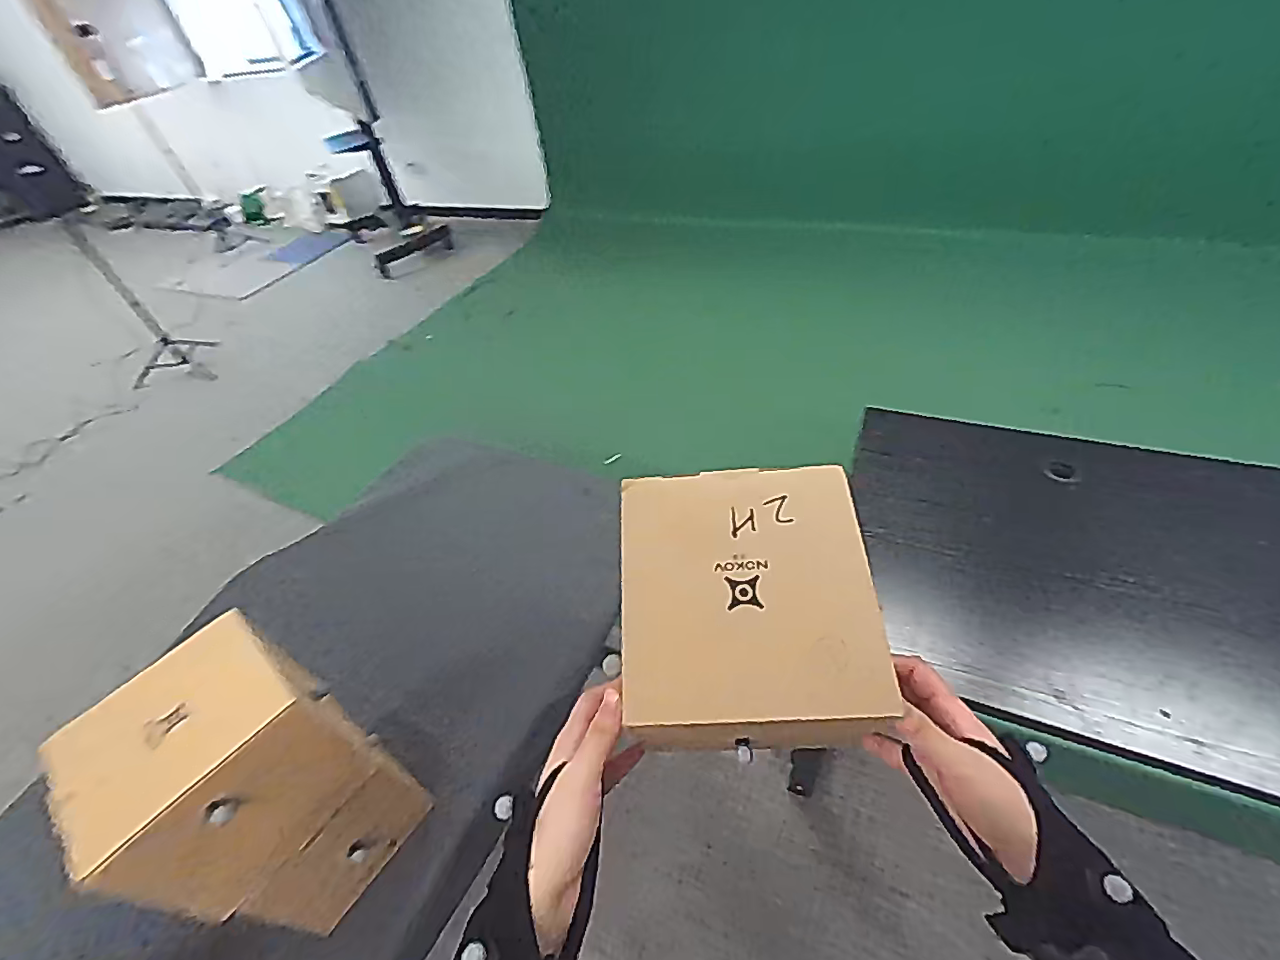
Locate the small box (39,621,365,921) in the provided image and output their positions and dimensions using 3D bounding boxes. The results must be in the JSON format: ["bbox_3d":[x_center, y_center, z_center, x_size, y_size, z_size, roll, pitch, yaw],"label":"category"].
[{"bbox_3d":[-0.407,0.283,0.534,0.168,0.176,0.179,26,56,32],"label":"small box"}]

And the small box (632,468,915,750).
[{"bbox_3d":[0.085,0.110,0.423,0.168,0.176,0.179,-3,59,5],"label":"small box"}]

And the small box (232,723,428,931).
[{"bbox_3d":[-0.393,0.398,0.650,0.179,0.176,0.168,21,53,28],"label":"small box"}]
